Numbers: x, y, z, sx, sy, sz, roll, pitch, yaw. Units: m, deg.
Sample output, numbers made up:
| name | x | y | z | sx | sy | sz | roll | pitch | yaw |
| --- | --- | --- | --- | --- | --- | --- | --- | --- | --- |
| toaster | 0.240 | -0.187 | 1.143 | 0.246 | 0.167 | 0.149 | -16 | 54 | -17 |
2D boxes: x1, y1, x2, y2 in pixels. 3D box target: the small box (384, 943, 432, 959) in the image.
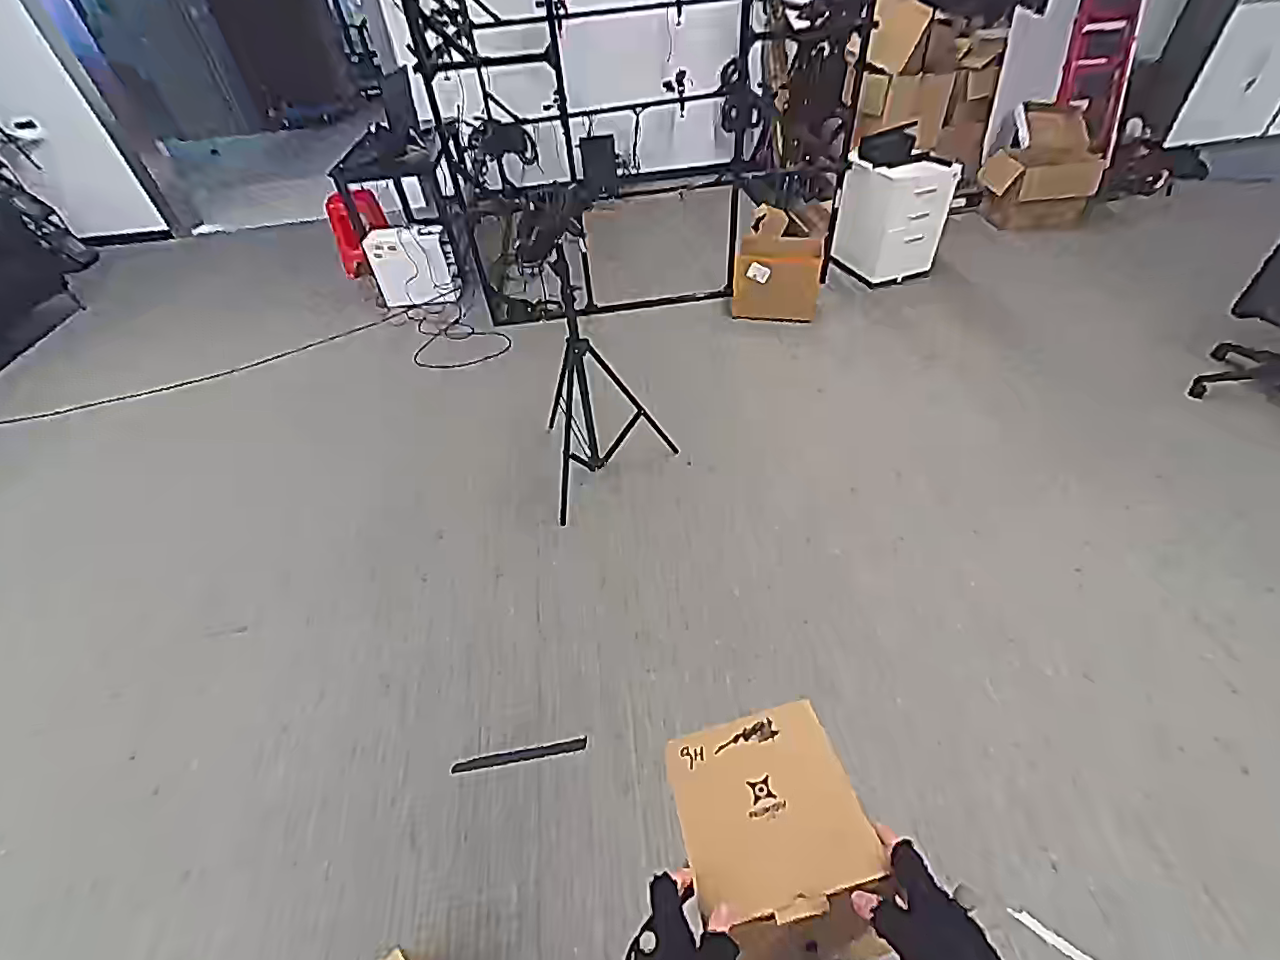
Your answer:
| name | x | y | z | sx | sy | sz | roll | pitch | yaw |
| --- | --- | --- | --- | --- | --- | --- | --- | --- | --- |
| small box | -0.462 | 1.054 | 1.042 | 0.179 | 0.176 | 0.168 | 32 | 56 | 31 |

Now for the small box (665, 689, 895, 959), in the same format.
| name | x | y | z | sx | sy | sz | roll | pitch | yaw |
| --- | --- | --- | --- | --- | --- | --- | --- | --- | --- |
| small box | 0.136 | 0.354 | 0.548 | 0.168 | 0.176 | 0.179 | -17 | 33 | -1 |
